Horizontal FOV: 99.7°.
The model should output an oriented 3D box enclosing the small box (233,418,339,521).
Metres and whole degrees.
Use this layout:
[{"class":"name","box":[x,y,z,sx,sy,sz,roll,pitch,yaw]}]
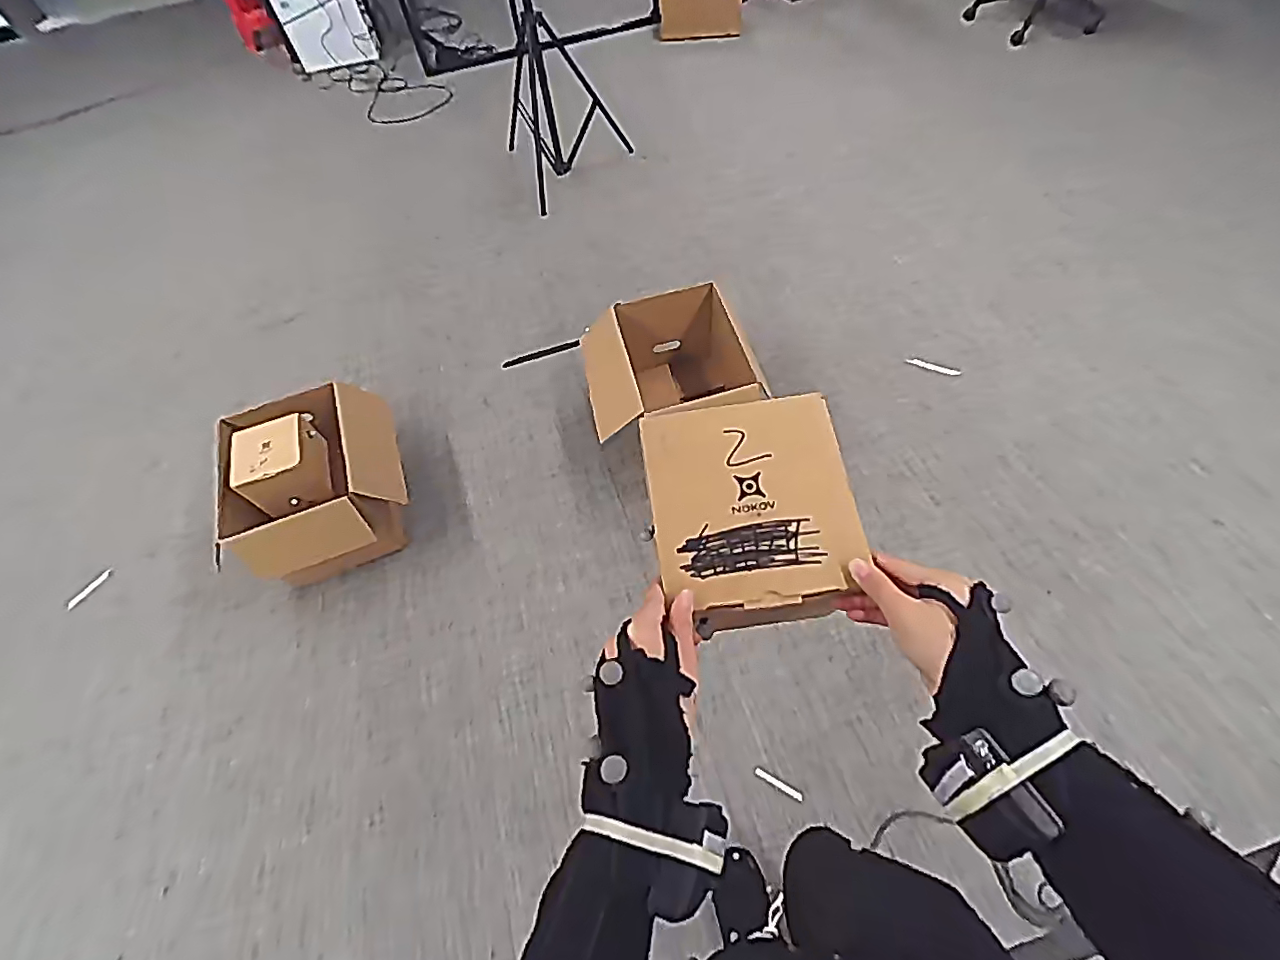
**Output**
[{"class":"small box","box":[-0.905,-0.024,1.394,0.168,0.176,0.179,-20,59,-6]}]
